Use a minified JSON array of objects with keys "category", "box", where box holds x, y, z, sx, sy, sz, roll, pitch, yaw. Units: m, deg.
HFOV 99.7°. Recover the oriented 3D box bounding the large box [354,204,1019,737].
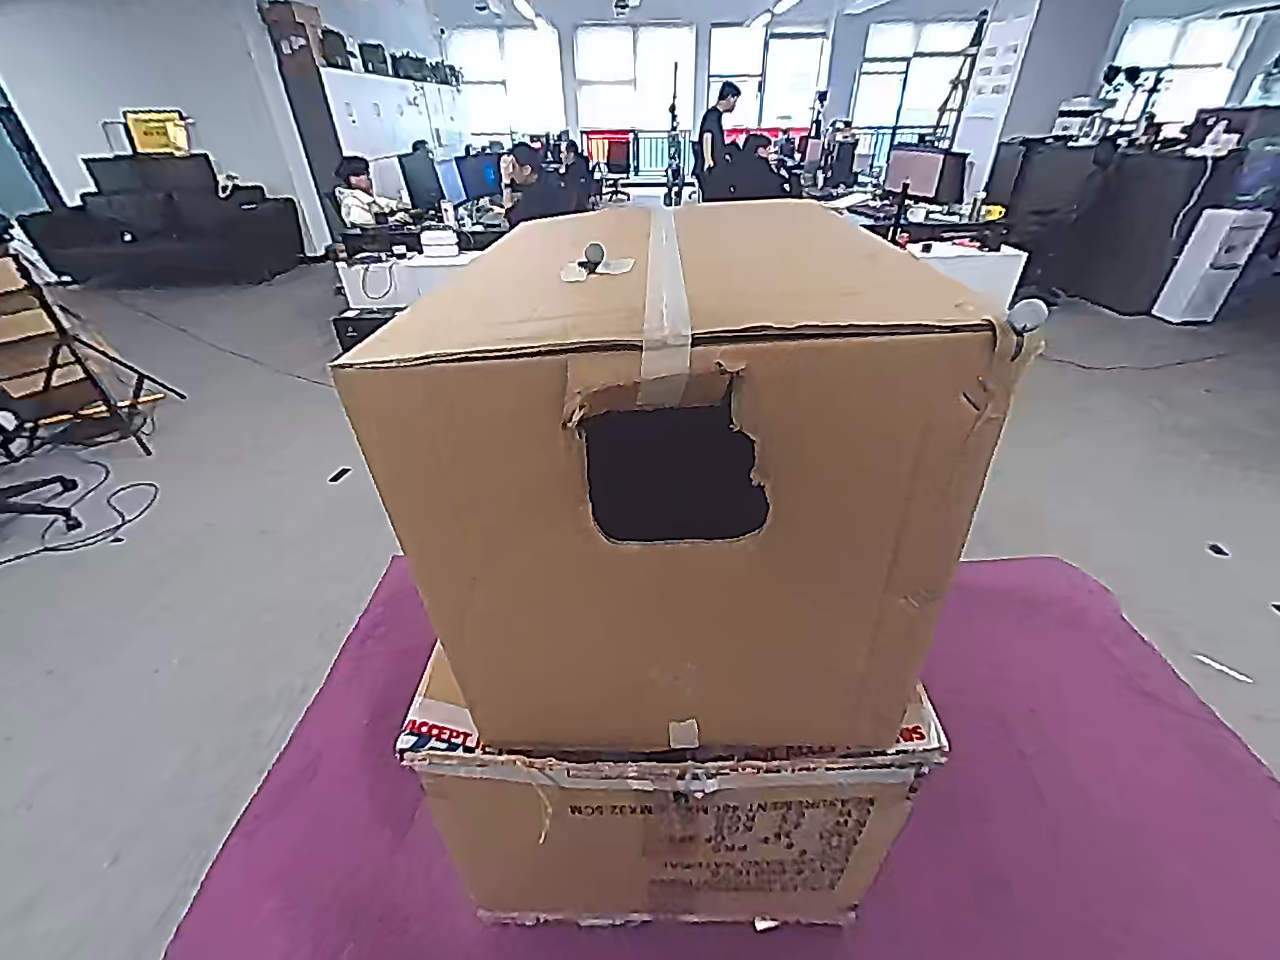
[{"category":"large box","box":[0.028,-0.042,0.489,0.320,0.320,0.408,-4,34,4]}]
